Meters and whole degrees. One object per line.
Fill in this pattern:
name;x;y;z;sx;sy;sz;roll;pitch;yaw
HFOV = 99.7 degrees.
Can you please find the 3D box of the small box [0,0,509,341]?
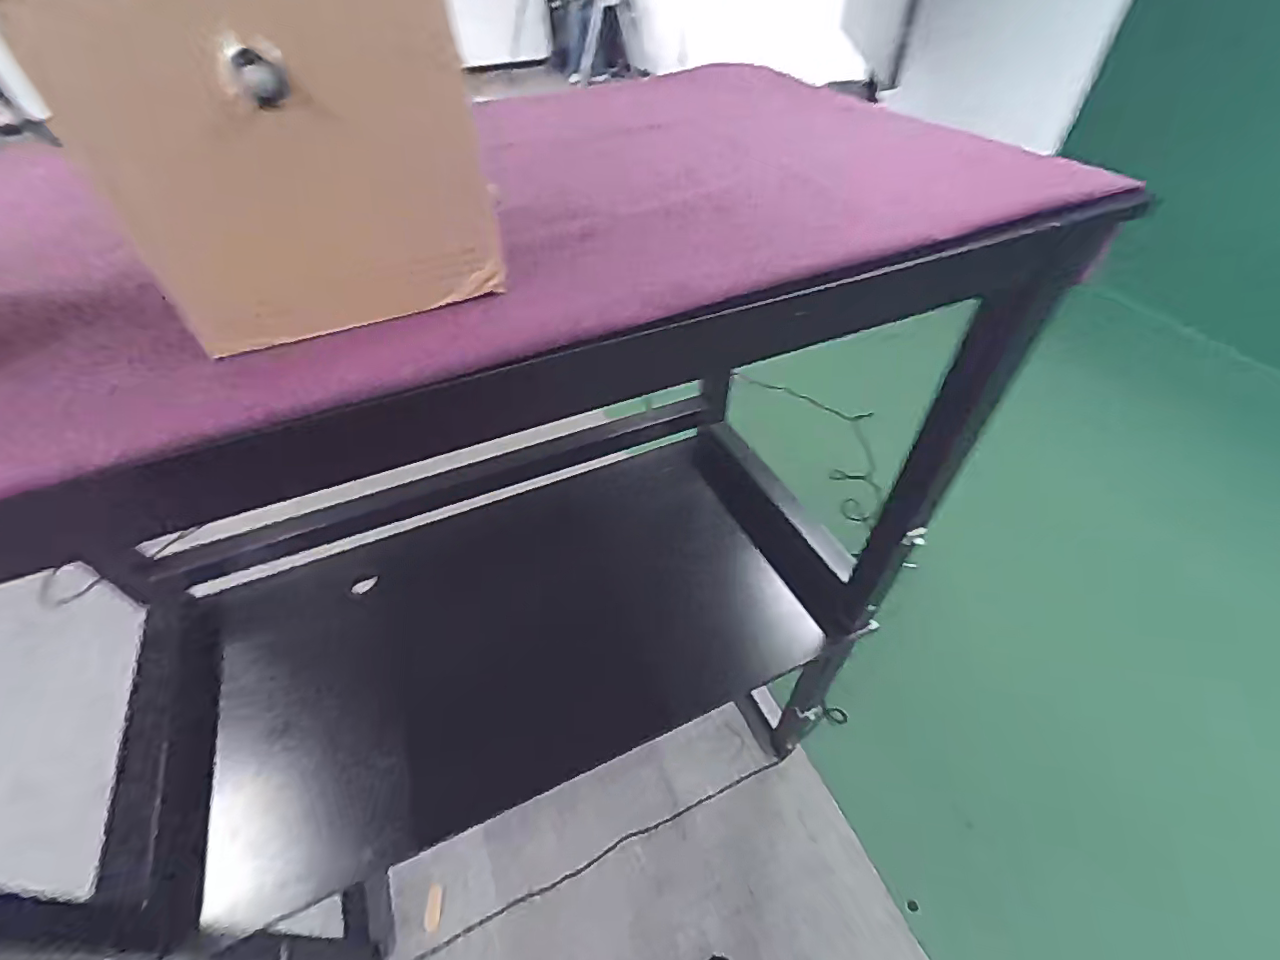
small box;-0.196;-0.205;0.324;0.179;0.176;0.168;-19;48;-16
